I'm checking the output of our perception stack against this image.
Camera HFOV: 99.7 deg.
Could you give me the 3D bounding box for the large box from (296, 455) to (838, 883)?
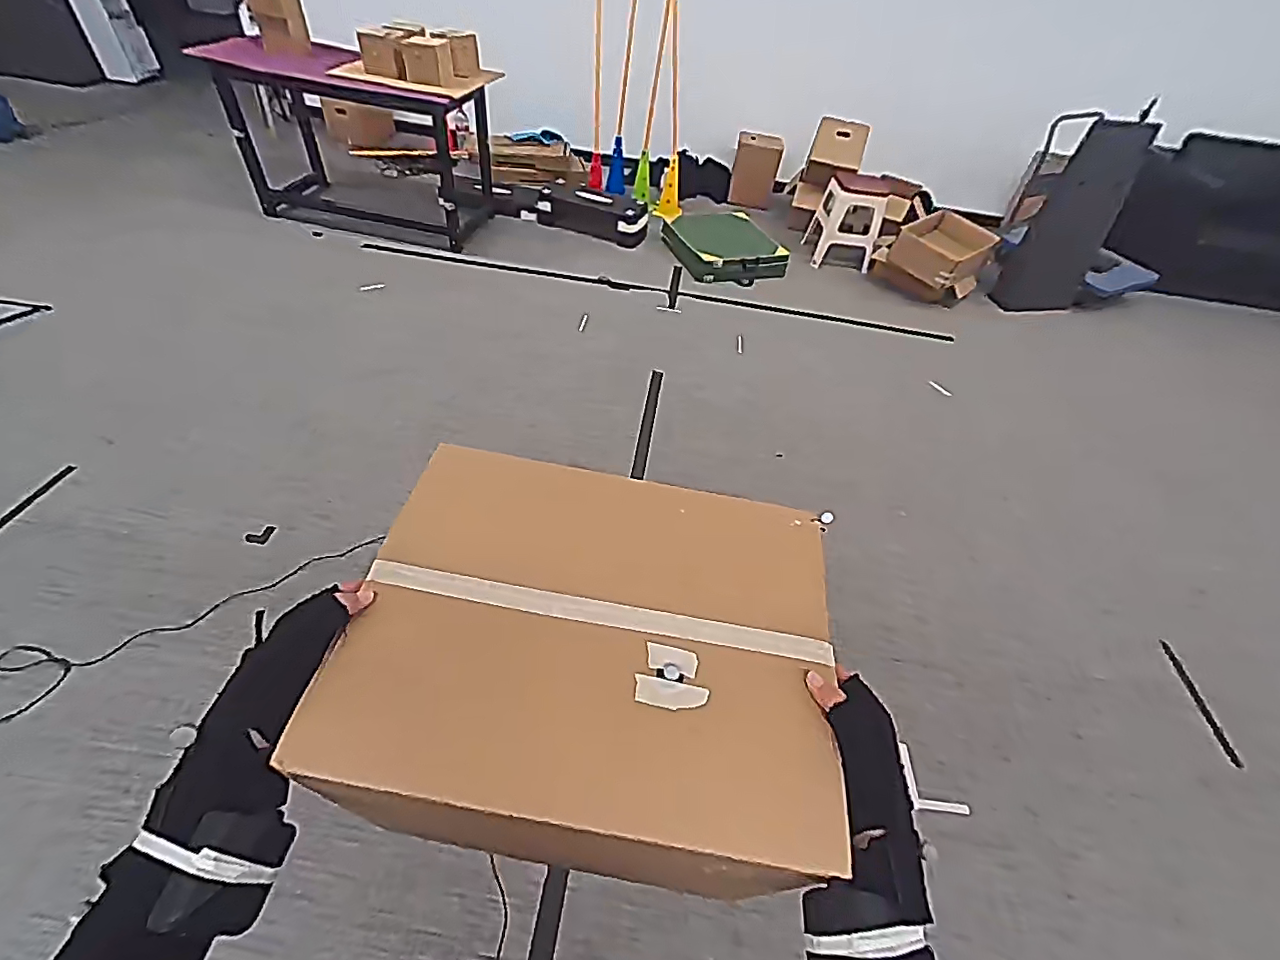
[{"bbox_3d":[-0.051,0.214,0.593,0.408,0.320,0.320,11,51,0],"label":"large box"}]
